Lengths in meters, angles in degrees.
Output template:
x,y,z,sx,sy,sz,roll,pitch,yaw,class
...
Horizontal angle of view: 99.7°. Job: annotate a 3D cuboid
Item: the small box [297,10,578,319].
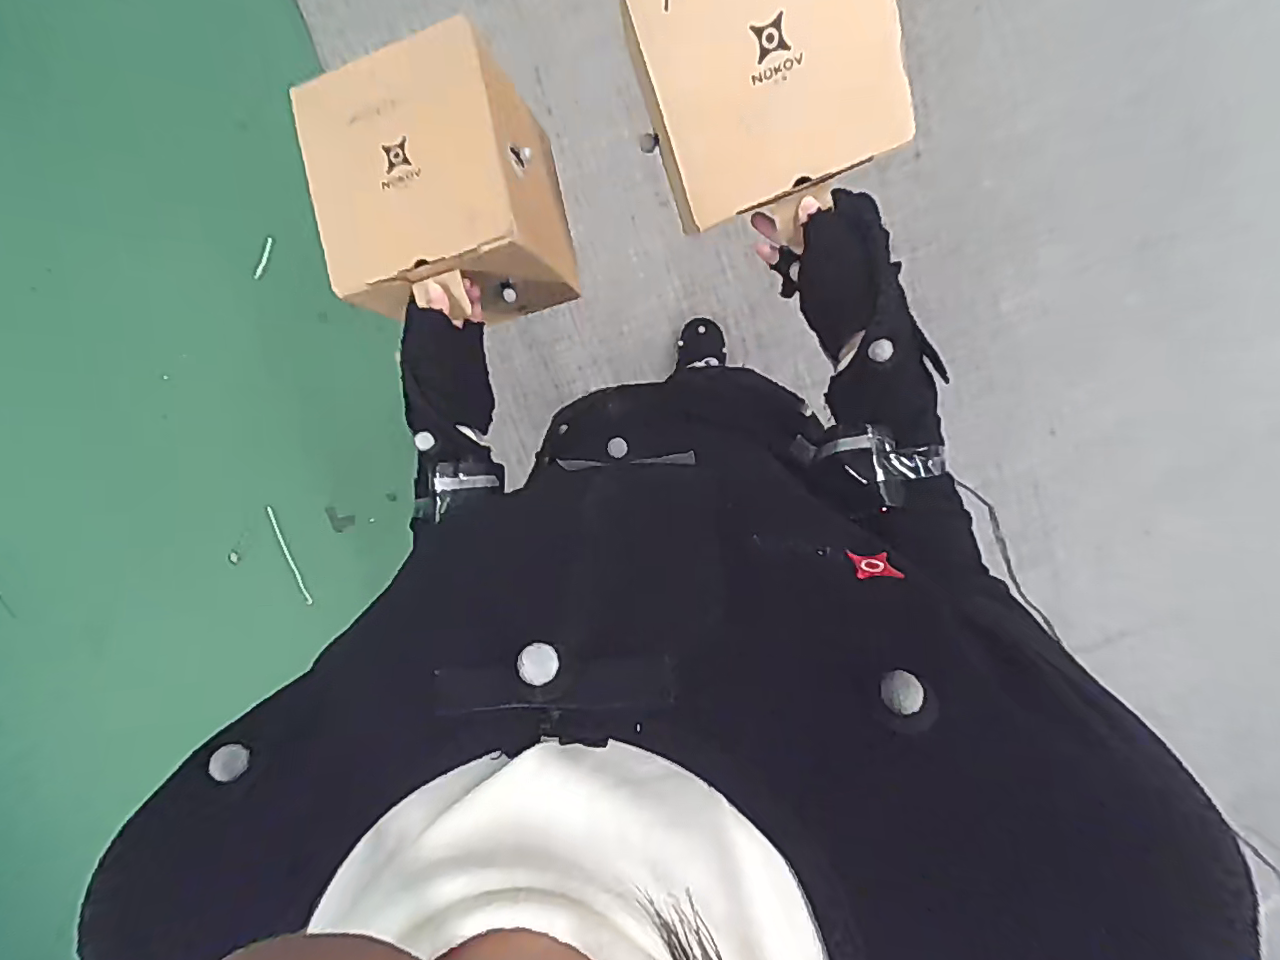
x,y,z,sx,sy,sz,roll,pitch,yaw,class
-0.172,-0.264,0.509,0.168,0.176,0.179,-13,90,13,small box
